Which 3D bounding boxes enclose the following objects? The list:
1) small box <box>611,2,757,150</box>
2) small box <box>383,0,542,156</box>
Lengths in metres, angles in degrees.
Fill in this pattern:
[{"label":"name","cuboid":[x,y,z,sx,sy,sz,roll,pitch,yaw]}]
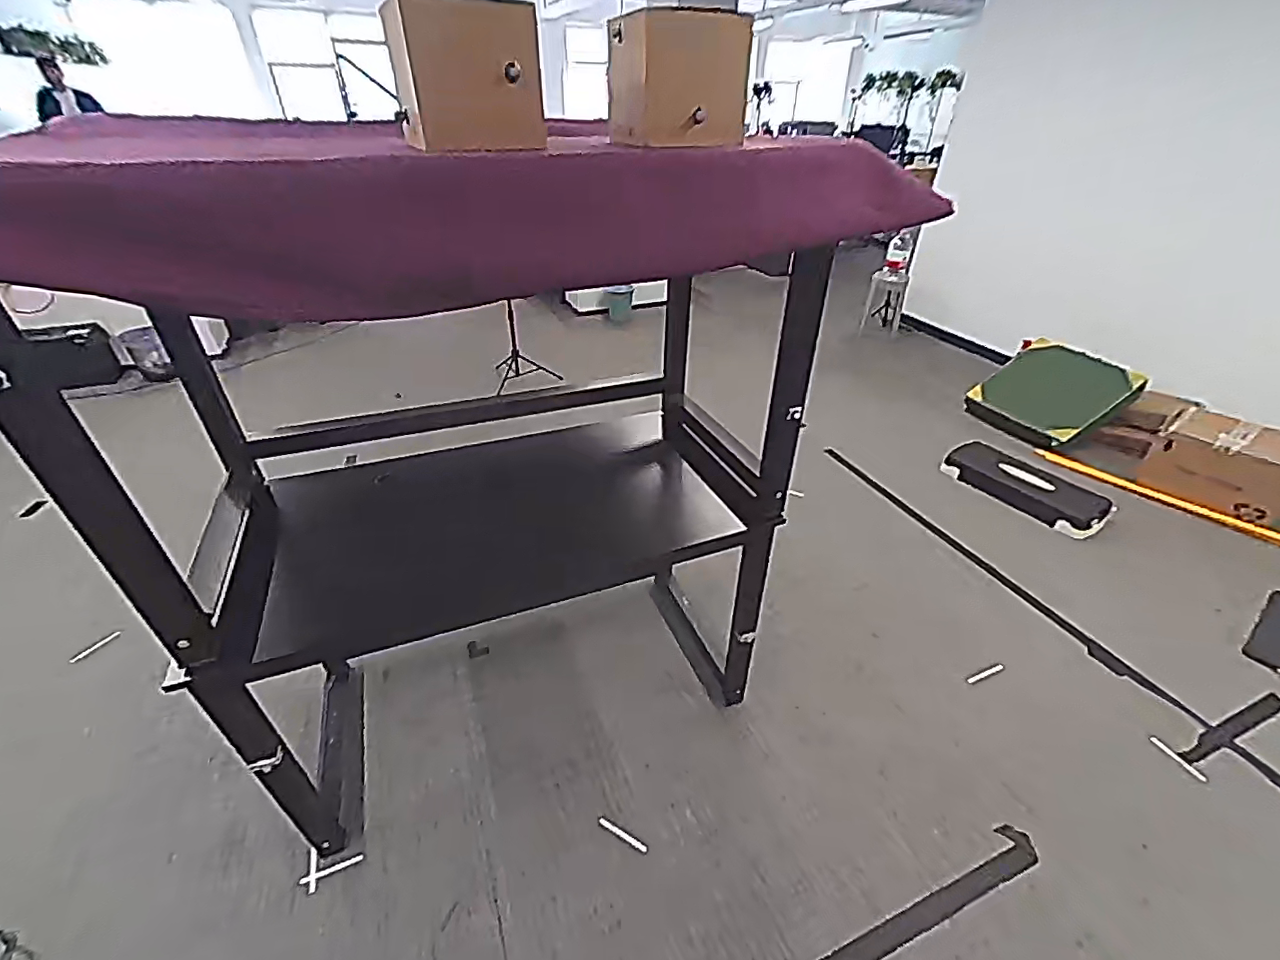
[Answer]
[{"label":"small box","cuboid":[0.059,-0.631,0.859,0.179,0.176,0.168,-12,36,-18]},{"label":"small box","cuboid":[-0.246,-0.570,0.771,0.179,0.176,0.168,-17,38,-23]}]
